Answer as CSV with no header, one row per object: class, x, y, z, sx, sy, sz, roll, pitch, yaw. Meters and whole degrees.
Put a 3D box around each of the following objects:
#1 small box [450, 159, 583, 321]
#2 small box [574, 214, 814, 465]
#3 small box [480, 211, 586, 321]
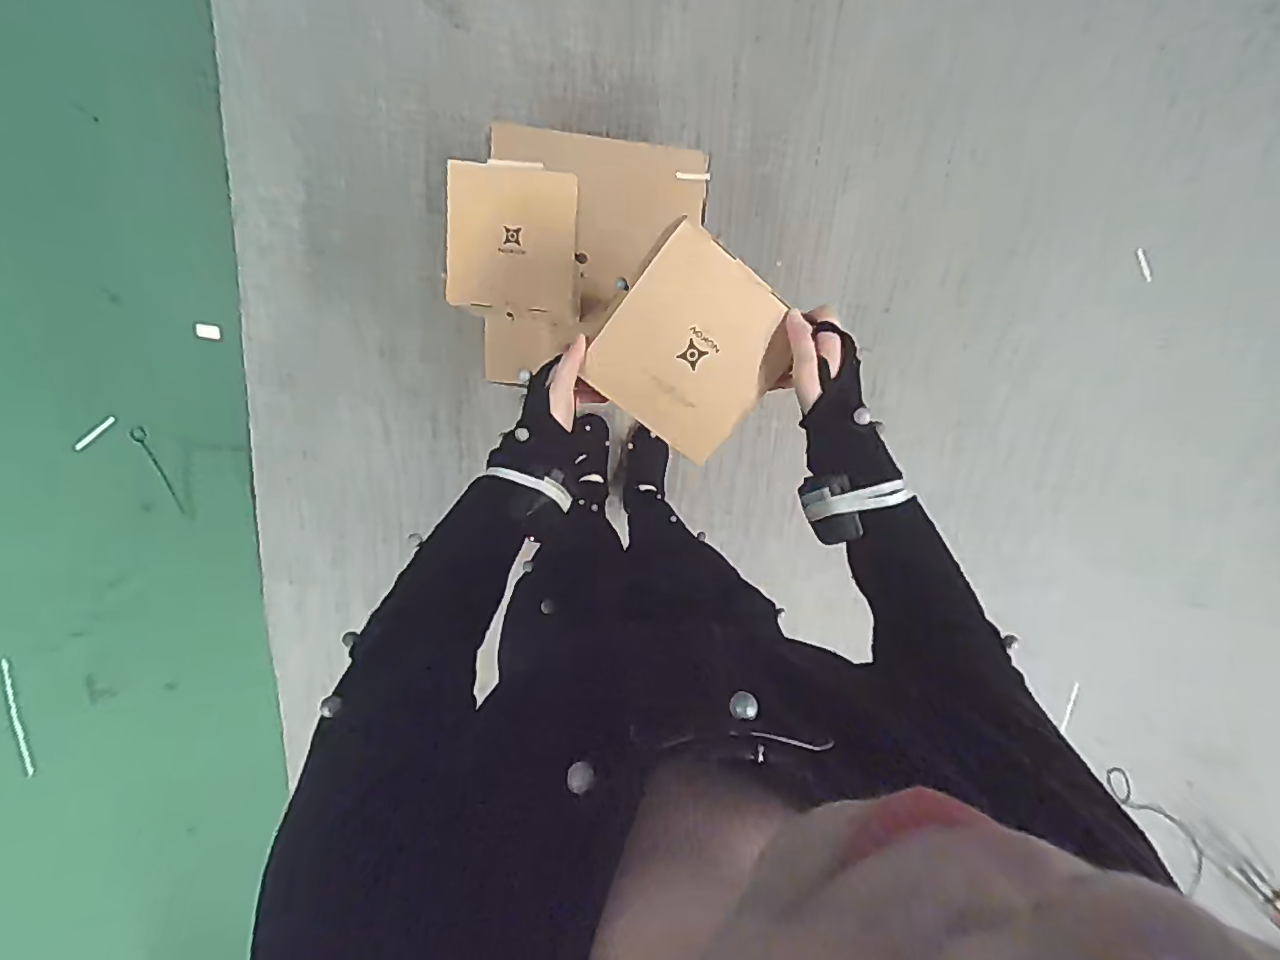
small box,-0.173,-0.333,0.785,0.168,0.176,0.179,4,103,-7
small box,0.046,-0.152,0.584,0.168,0.176,0.179,37,105,-15
small box,-0.186,-0.371,0.943,0.179,0.176,0.168,2,102,-6
